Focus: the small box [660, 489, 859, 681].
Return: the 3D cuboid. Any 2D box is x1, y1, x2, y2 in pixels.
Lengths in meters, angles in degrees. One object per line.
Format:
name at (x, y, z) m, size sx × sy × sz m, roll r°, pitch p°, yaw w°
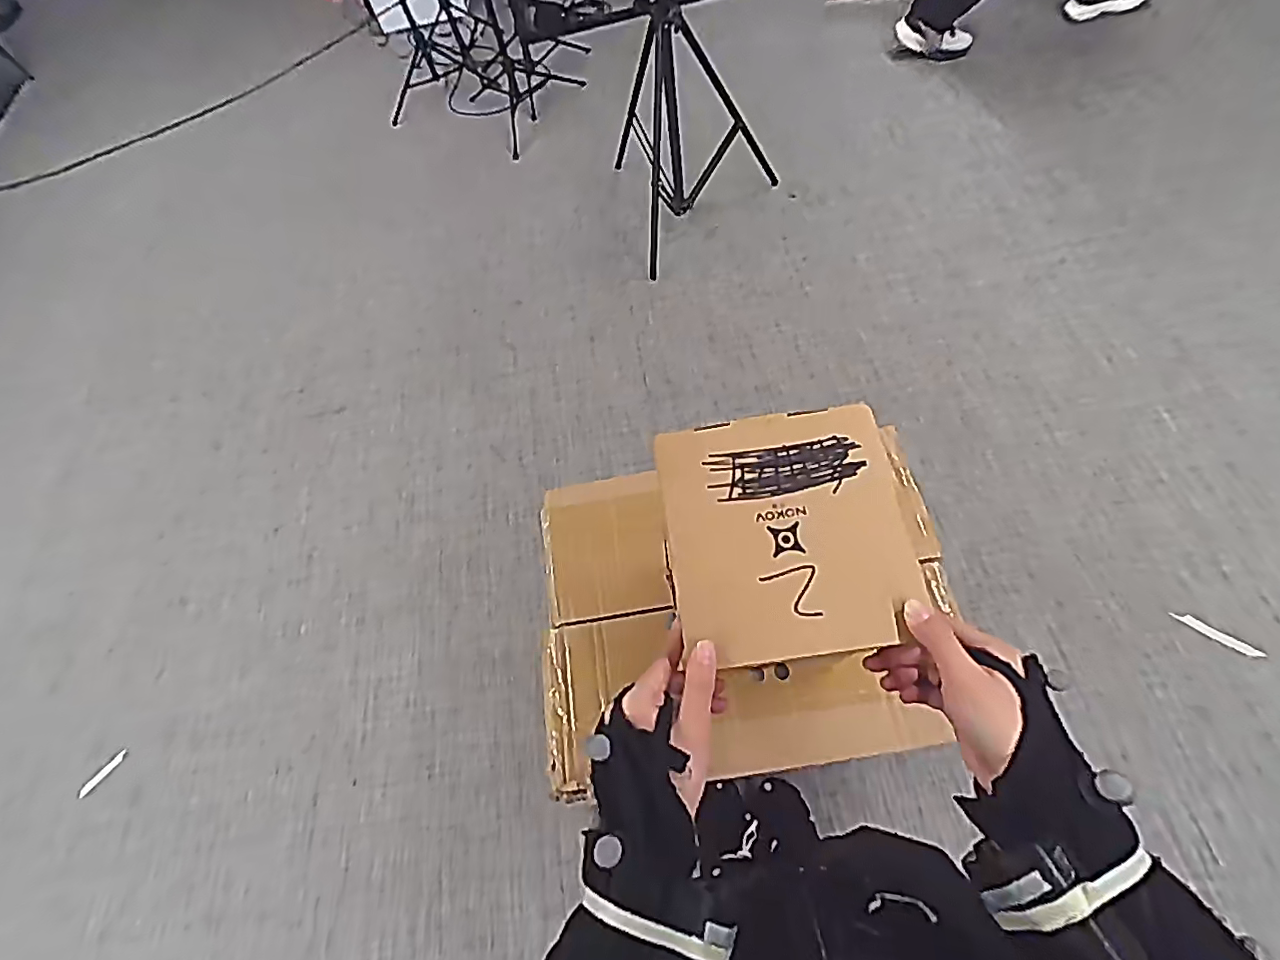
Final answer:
small box at (0.127, 0.129, 0.621) m, size 0.179 × 0.176 × 0.168 m, roll -9°, pitch 64°, yaw 4°
